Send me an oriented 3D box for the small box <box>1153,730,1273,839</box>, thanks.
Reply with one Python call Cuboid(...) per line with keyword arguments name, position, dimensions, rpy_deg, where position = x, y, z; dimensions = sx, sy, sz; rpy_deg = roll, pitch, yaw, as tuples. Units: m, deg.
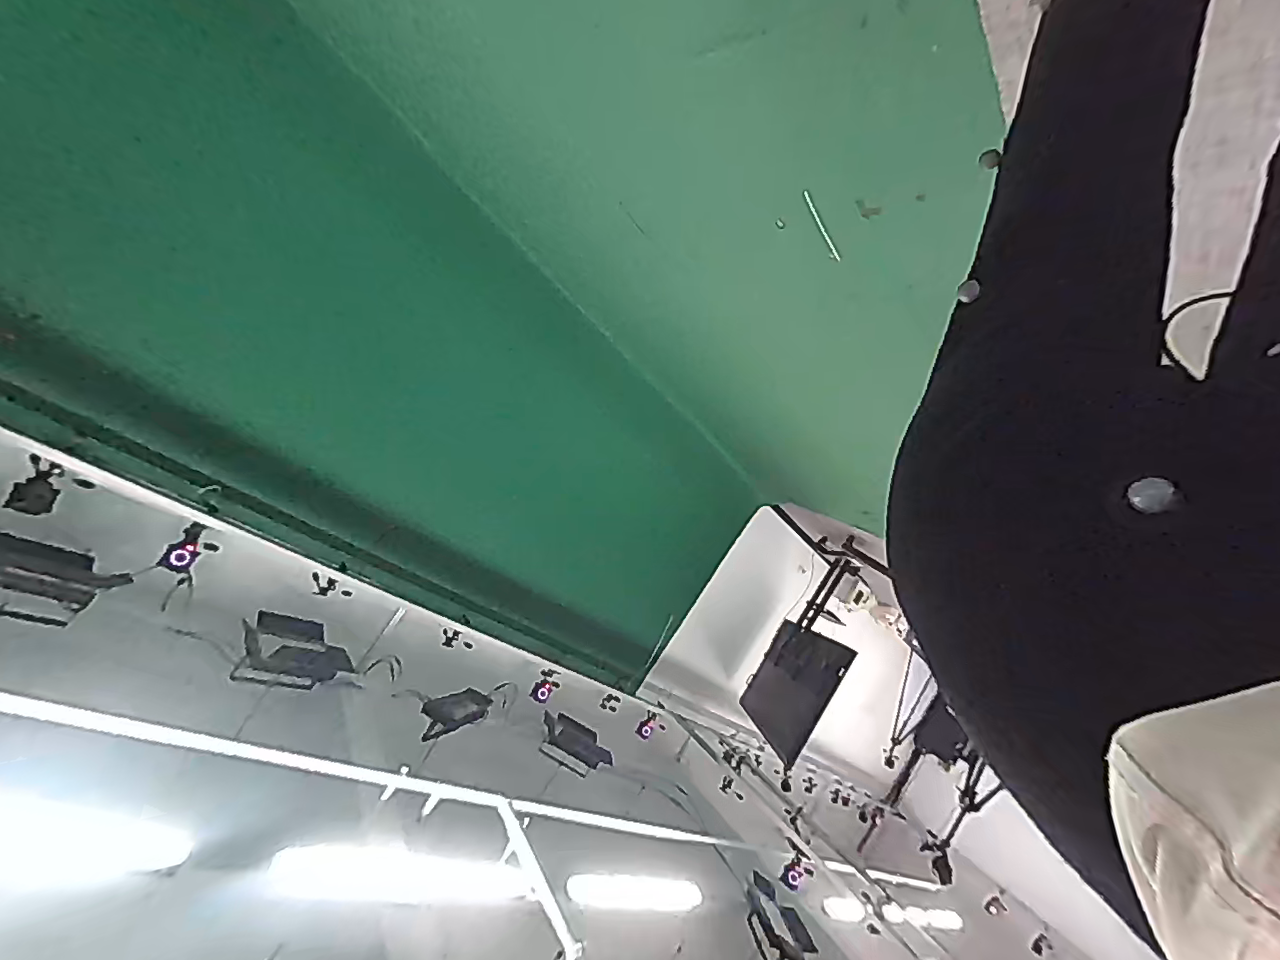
Cuboid(name="small box", position=(1.438, 0.761, 1.362), dimensions=(0.179, 0.176, 0.168), rpy_deg=(39, 172, -37))
